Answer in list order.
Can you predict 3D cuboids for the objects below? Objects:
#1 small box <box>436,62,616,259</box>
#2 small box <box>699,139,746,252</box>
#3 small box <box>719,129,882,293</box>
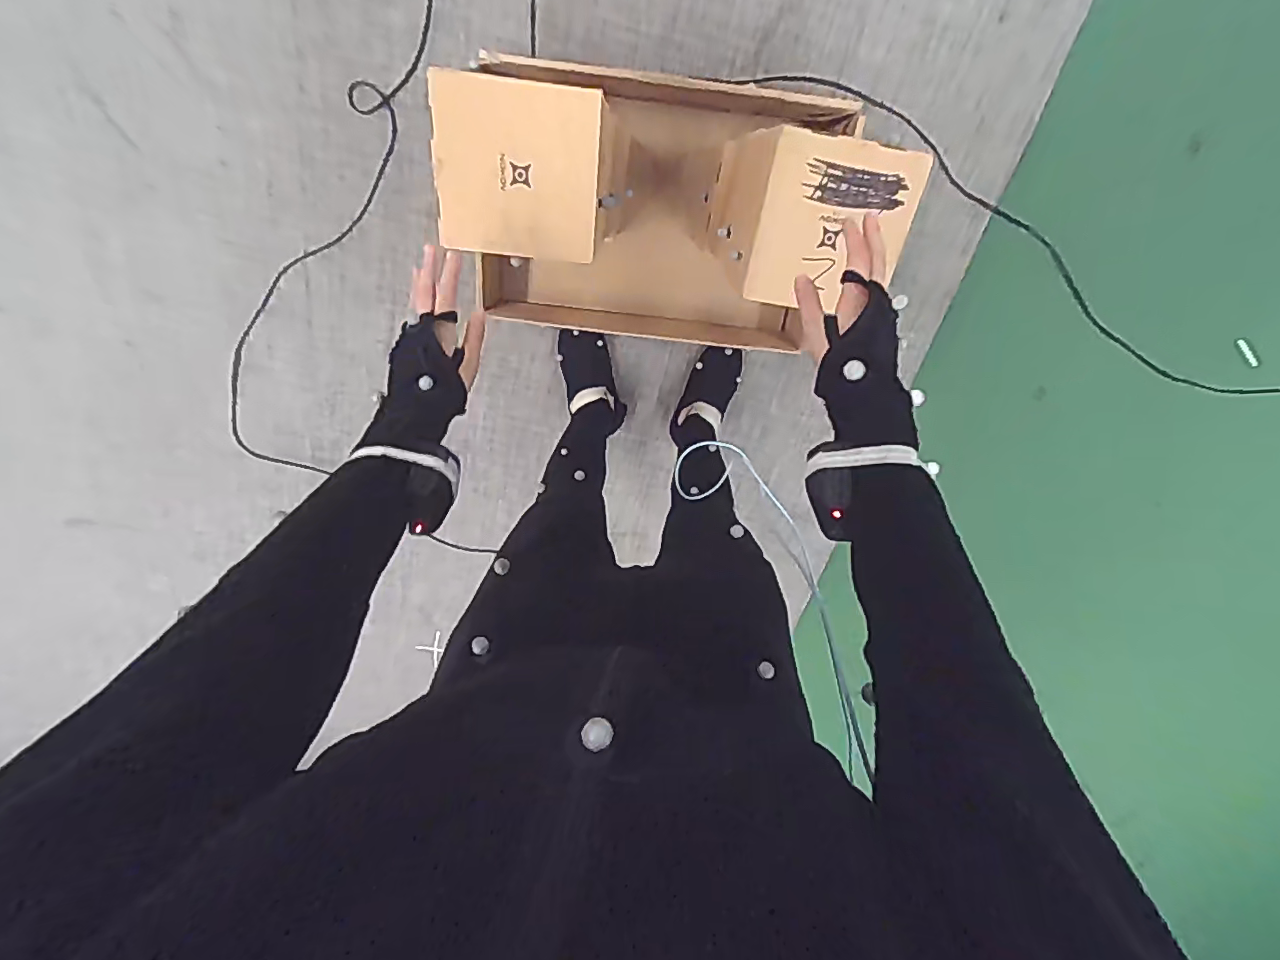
[{"bbox_3d":[-0.123,-0.371,0.641,0.179,0.176,0.168,6,120,-2],"label":"small box"},{"bbox_3d":[0.208,-0.479,0.951,0.179,0.176,0.168,10,118,-5],"label":"small box"},{"bbox_3d":[0.222,-0.398,0.808,0.168,0.176,0.179,10,117,-6],"label":"small box"}]
